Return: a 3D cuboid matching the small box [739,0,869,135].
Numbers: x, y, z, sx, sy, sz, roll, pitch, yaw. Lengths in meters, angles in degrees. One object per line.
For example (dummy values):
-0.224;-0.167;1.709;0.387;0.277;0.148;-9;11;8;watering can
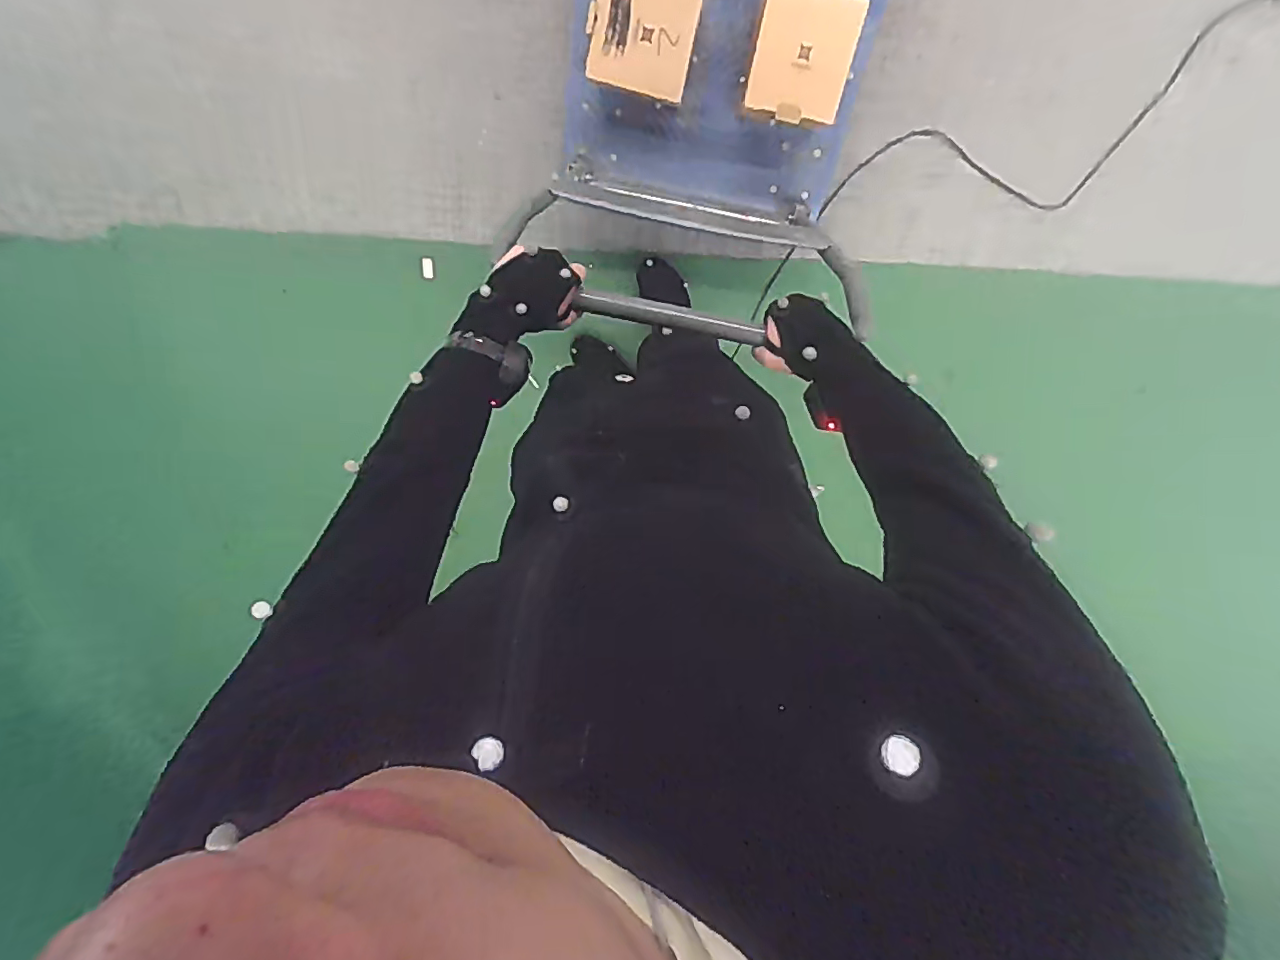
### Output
0.285;-0.750;0.988;0.168;0.176;0.179;11;122;-2;small box
